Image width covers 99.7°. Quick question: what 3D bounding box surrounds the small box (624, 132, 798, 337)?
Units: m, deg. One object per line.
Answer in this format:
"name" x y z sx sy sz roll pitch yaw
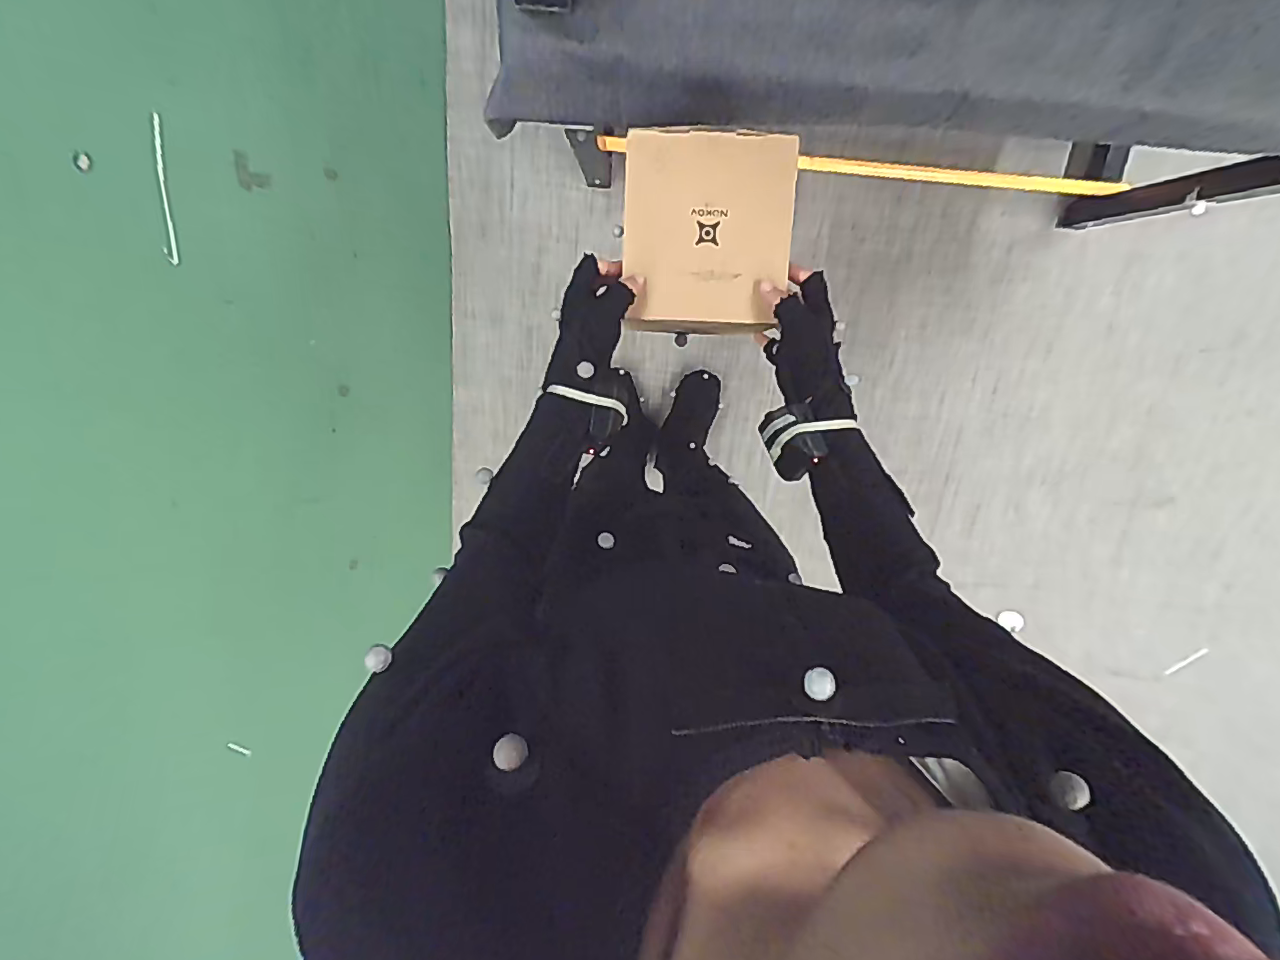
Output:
"small box" 0.070 -0.262 0.616 0.168 0.176 0.179 2 101 1
